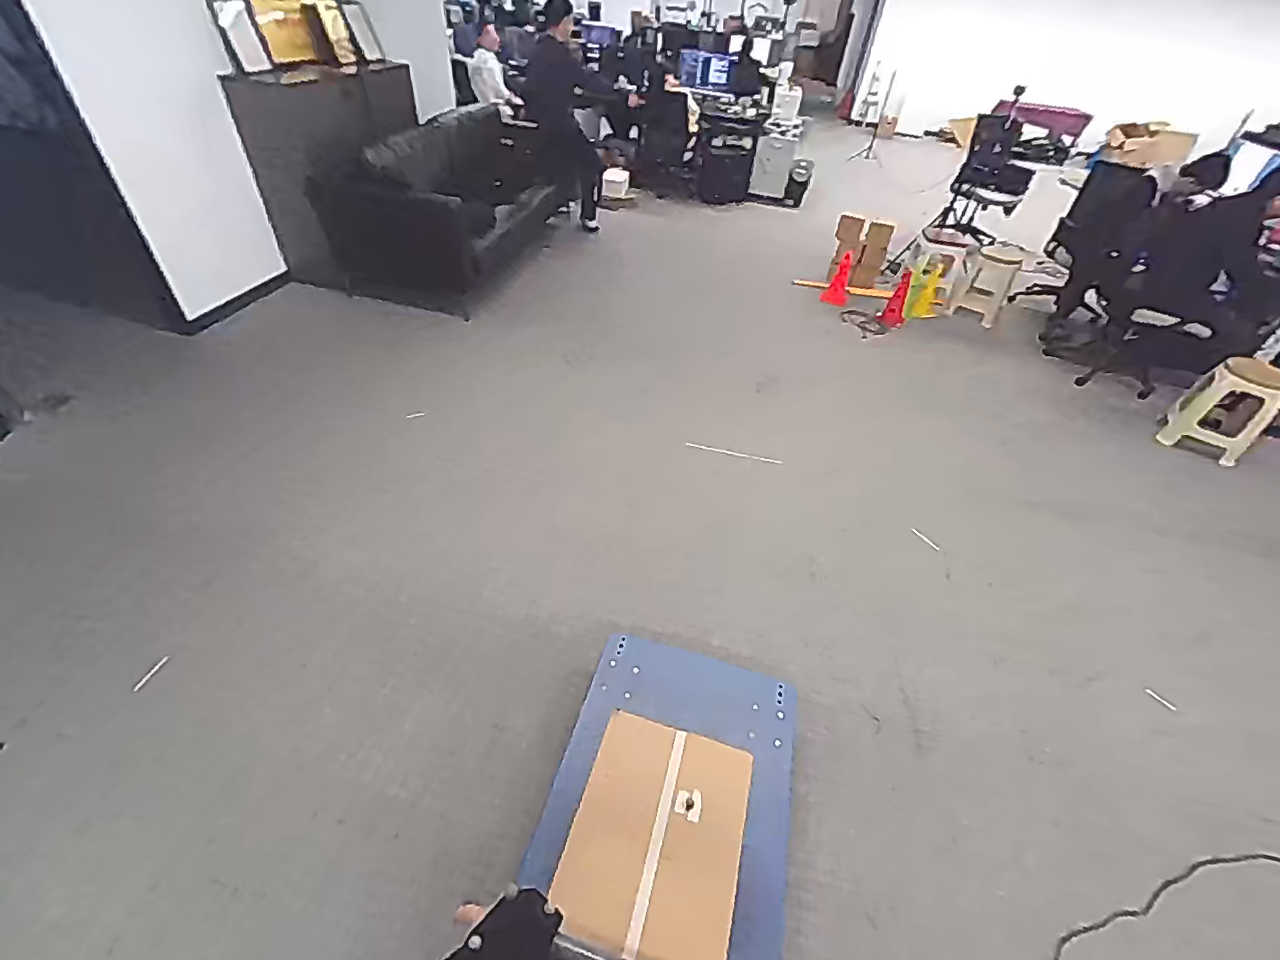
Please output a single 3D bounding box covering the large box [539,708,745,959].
[{"bbox_3d":[0.014,0.773,1.120,0.320,0.320,0.408,15,41,9],"label":"large box"}]
